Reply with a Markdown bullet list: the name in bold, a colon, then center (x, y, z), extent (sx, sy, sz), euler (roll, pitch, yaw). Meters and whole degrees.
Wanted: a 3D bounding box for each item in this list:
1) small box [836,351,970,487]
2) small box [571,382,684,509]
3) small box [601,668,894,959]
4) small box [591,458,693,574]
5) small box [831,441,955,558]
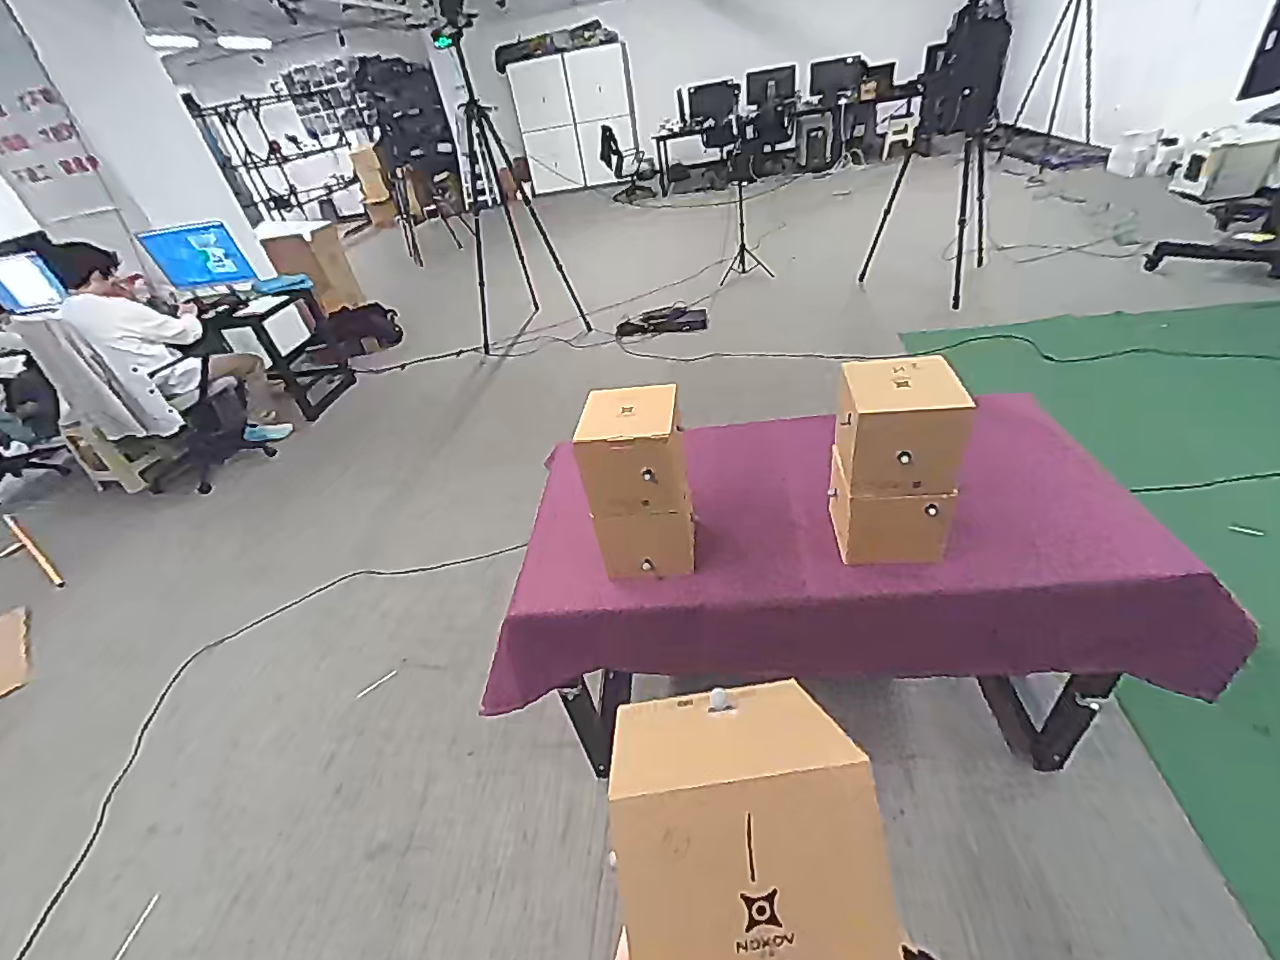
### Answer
- **small box**: center (0.432, -0.099, 0.920), extent (0.168, 0.176, 0.179), euler (-2, 38, 12)
- **small box**: center (-0.012, -0.059, 0.989), extent (0.168, 0.176, 0.179), euler (-3, 37, 11)
- **small box**: center (0.068, 0.263, 0.410), extent (0.168, 0.179, 0.176), euler (-9, -4, -1)
- **small box**: center (0.013, 0.073, 1.083), extent (0.179, 0.176, 0.168), euler (-4, 37, 9)
- **small box**: center (0.459, 0.033, 1.014), extent (0.179, 0.176, 0.168), euler (-3, 38, 10)
